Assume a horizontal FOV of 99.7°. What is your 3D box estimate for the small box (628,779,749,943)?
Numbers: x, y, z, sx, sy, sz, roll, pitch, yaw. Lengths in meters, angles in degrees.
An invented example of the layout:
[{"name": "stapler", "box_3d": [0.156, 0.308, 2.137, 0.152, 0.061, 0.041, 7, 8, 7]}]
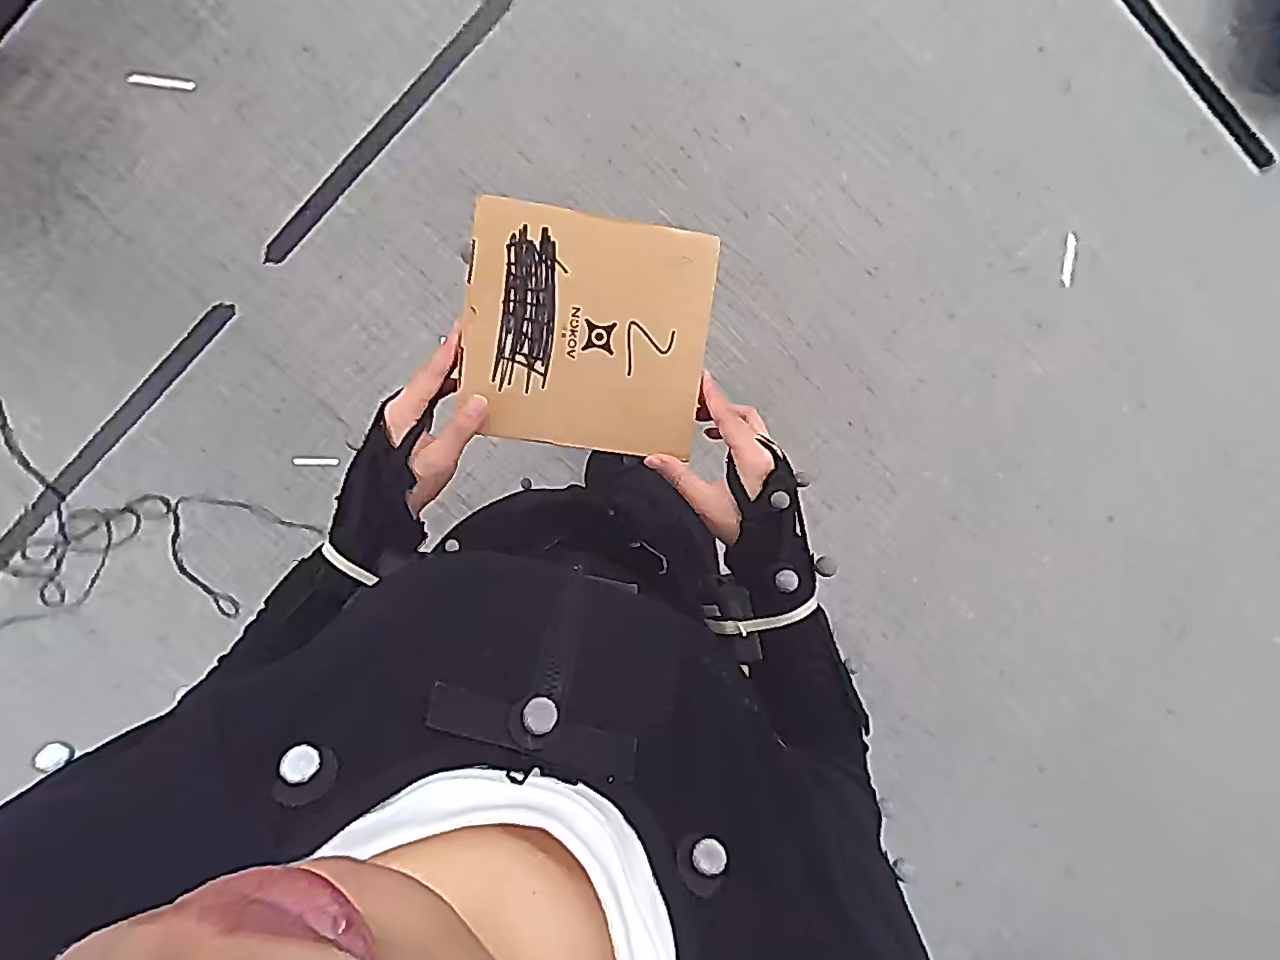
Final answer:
[{"name": "small box", "box_3d": [0.091, 0.771, 1.111, 0.179, 0.176, 0.168, -44, 96, 1]}]
